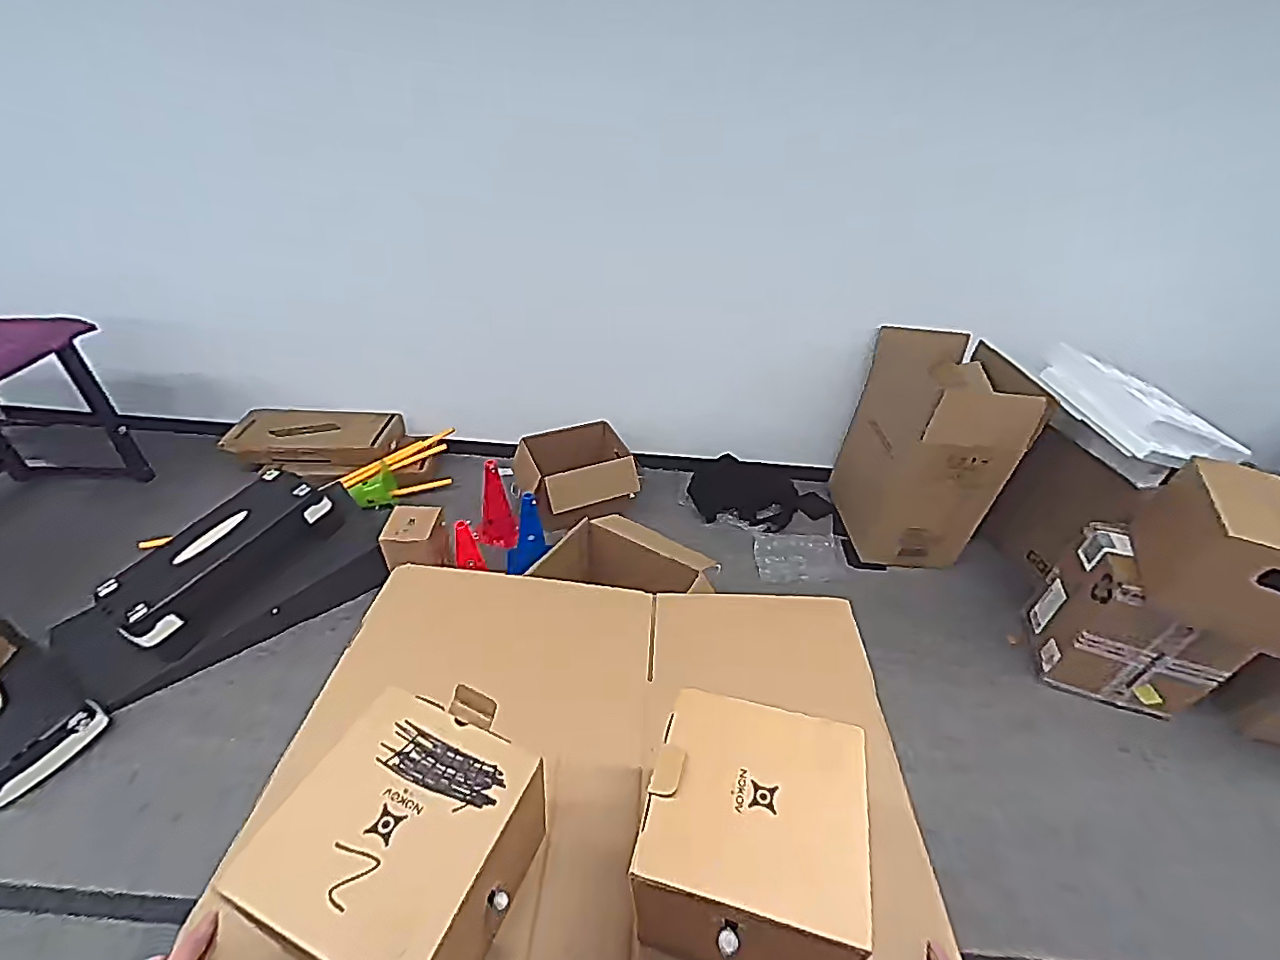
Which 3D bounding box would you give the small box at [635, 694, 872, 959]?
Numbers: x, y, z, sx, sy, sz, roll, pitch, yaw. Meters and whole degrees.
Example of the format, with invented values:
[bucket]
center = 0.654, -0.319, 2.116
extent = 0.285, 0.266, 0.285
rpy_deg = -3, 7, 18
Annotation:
[small box]
center = 0.104, 0.336, 0.505
extent = 0.179, 0.176, 0.168
rpy_deg = 7, 37, 15
